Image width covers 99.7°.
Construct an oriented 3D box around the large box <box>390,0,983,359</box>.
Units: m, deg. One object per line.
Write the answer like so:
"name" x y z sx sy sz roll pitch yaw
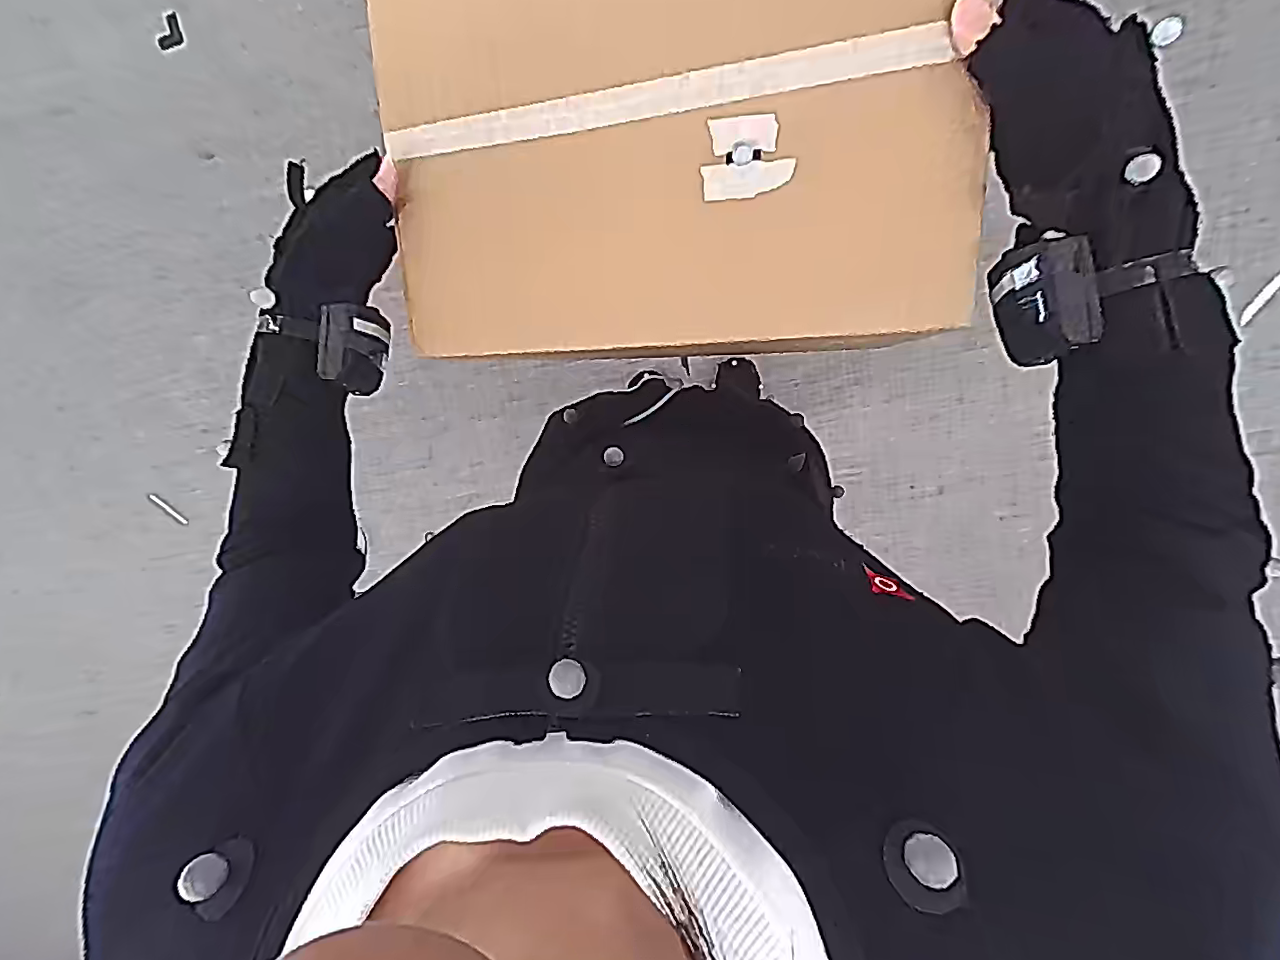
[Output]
"large box" 0.047 -0.287 0.510 0.408 0.320 0.320 0 102 15
